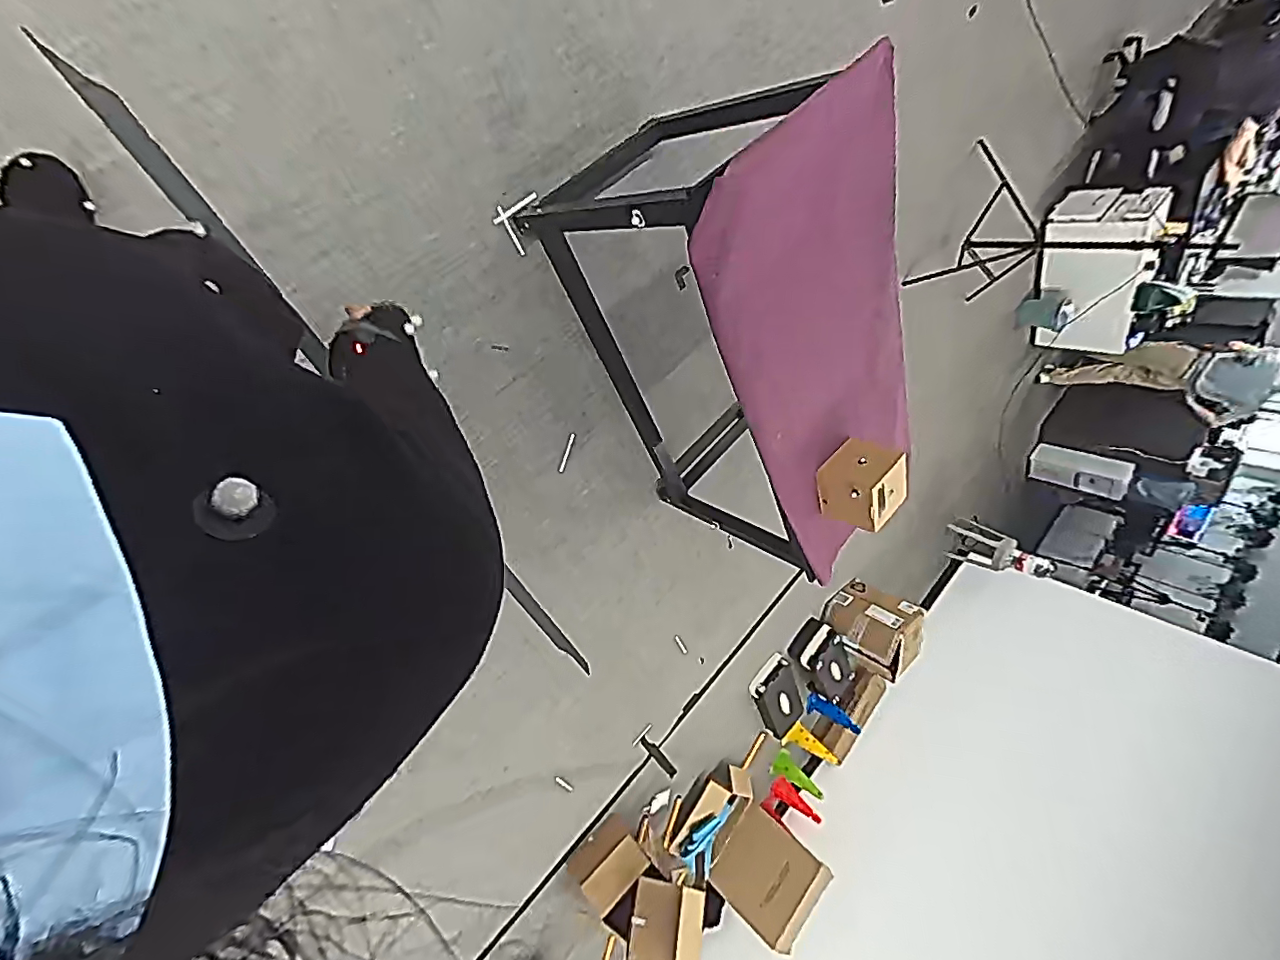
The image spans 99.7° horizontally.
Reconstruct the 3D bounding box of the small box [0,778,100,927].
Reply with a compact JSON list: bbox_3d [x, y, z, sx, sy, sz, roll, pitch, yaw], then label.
[{"bbox_3d":[-1.285,0.765,1.124,0.179,0.176,0.168,-46,131,-18],"label":"small box"}]
